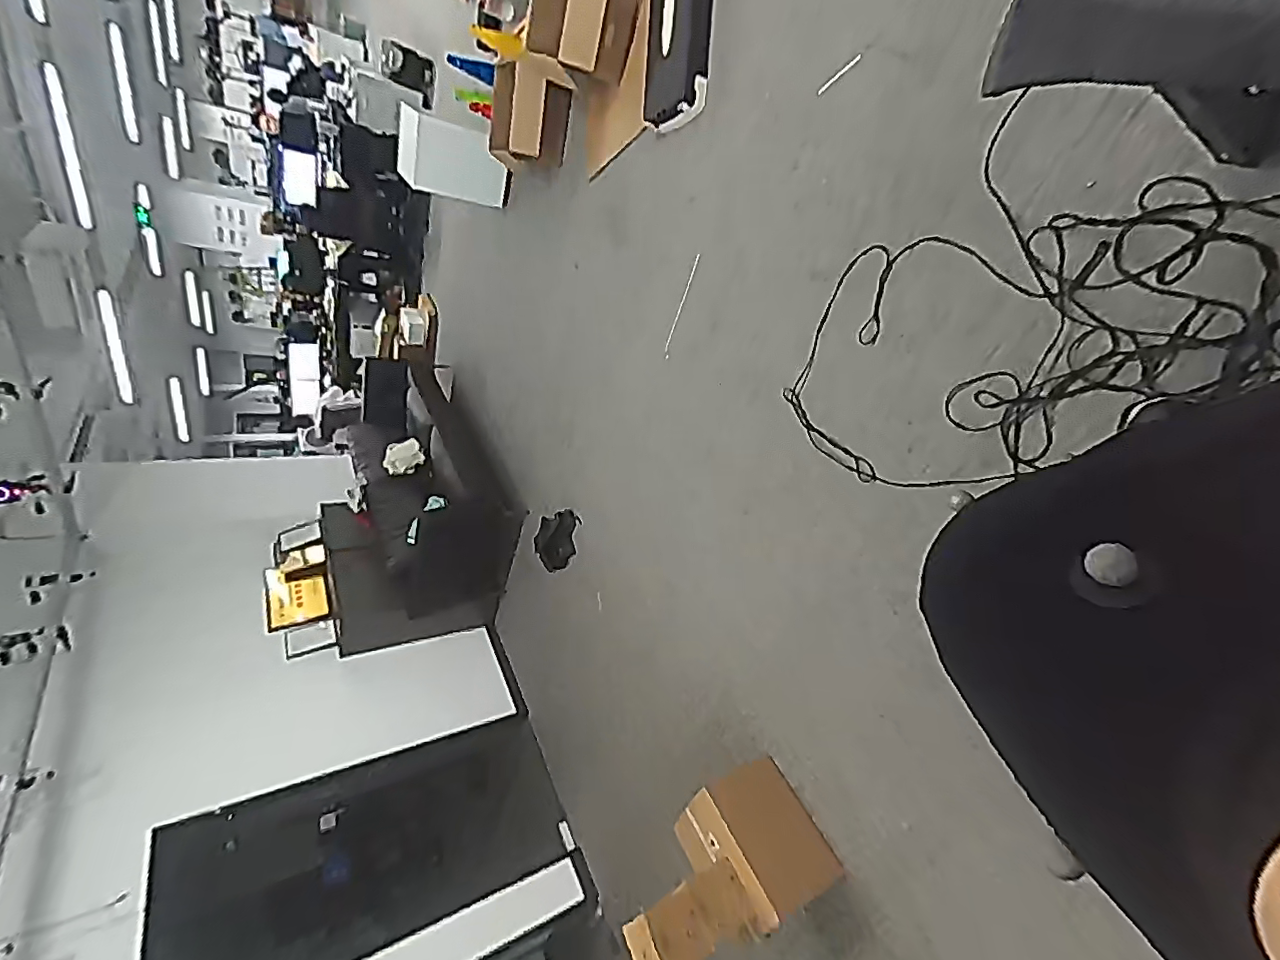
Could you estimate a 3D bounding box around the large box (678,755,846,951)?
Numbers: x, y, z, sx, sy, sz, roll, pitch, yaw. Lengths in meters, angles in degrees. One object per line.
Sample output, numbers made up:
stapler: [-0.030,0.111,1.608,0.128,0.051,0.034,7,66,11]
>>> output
large box: [0.396,1.232,1.817,0.408,0.320,0.320,54,134,40]

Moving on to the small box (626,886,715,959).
small box: [0.088,1.312,1.552,0.168,0.176,0.179,58,137,36]
